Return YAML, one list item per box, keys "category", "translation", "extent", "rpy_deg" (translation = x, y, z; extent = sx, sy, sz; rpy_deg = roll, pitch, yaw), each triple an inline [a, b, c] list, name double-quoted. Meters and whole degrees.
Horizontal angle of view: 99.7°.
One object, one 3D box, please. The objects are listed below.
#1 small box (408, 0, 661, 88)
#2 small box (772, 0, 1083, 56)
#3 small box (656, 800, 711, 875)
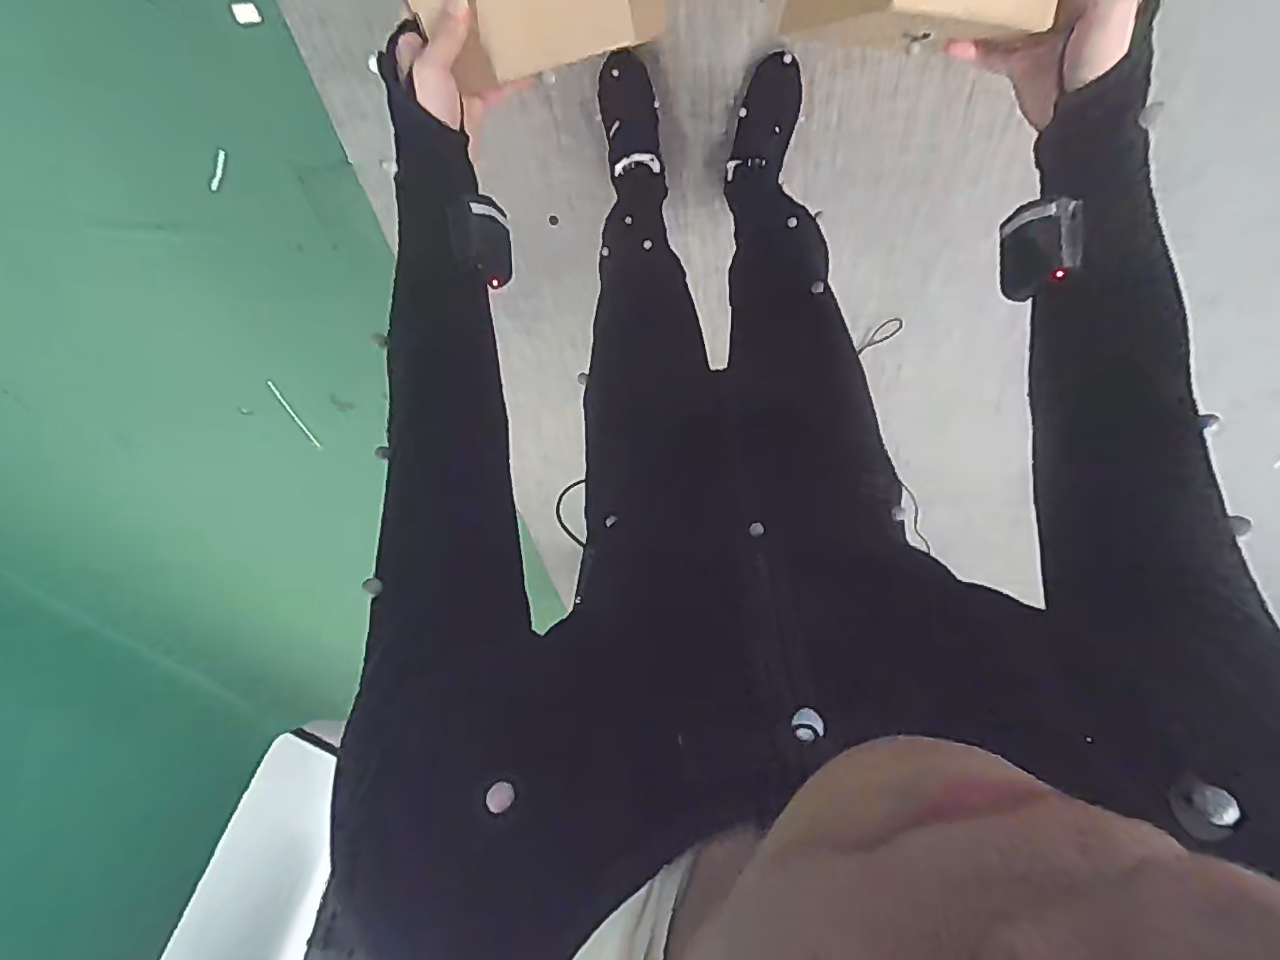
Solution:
- category: "small box"
  translation: [-0.092, -0.456, 0.458]
  extent: [0.179, 0.176, 0.168]
  rpy_deg: [-2, 131, 17]
- category: "small box"
  translation: [0.227, -0.440, 0.411]
  extent: [0.179, 0.176, 0.168]
  rpy_deg: [-5, 122, -13]
- category: "small box"
  translation: [0.142, 1.135, 1.720]
  extent: [0.168, 0.176, 0.179]
  rpy_deg: [0, 136, 9]
